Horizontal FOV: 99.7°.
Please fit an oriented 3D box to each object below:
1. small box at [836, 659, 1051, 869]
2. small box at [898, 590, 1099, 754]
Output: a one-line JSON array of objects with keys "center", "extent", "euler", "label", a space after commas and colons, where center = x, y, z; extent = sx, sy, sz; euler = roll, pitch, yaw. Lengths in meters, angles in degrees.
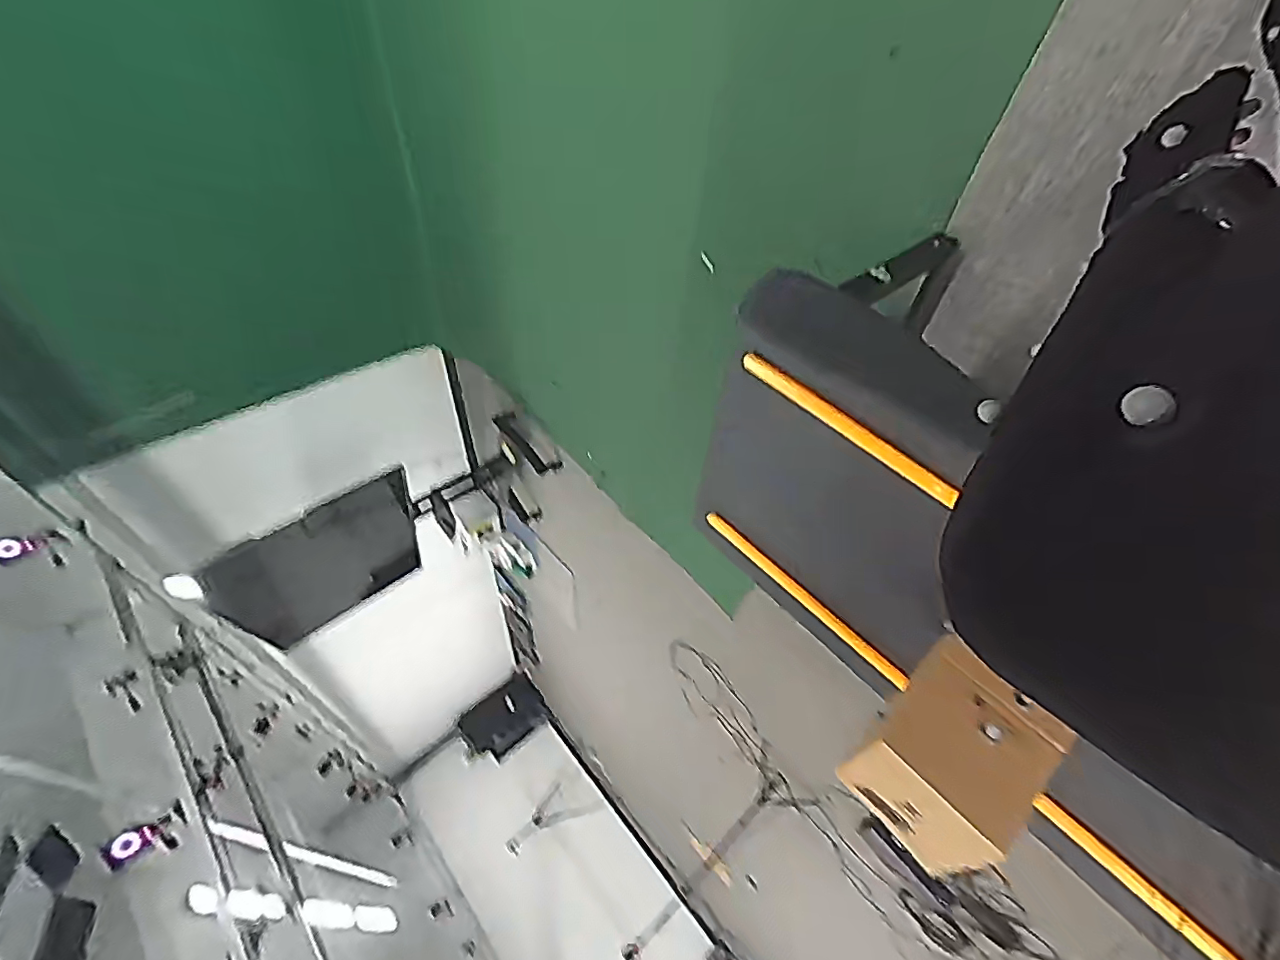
[{"center": [0.408, 0.382, 0.738], "extent": [0.168, 0.176, 0.179], "euler": [42, 147, 27], "label": "small box"}, {"center": [0.532, 0.302, 0.812], "extent": [0.168, 0.176, 0.179], "euler": [40, 148, 28], "label": "small box"}]
